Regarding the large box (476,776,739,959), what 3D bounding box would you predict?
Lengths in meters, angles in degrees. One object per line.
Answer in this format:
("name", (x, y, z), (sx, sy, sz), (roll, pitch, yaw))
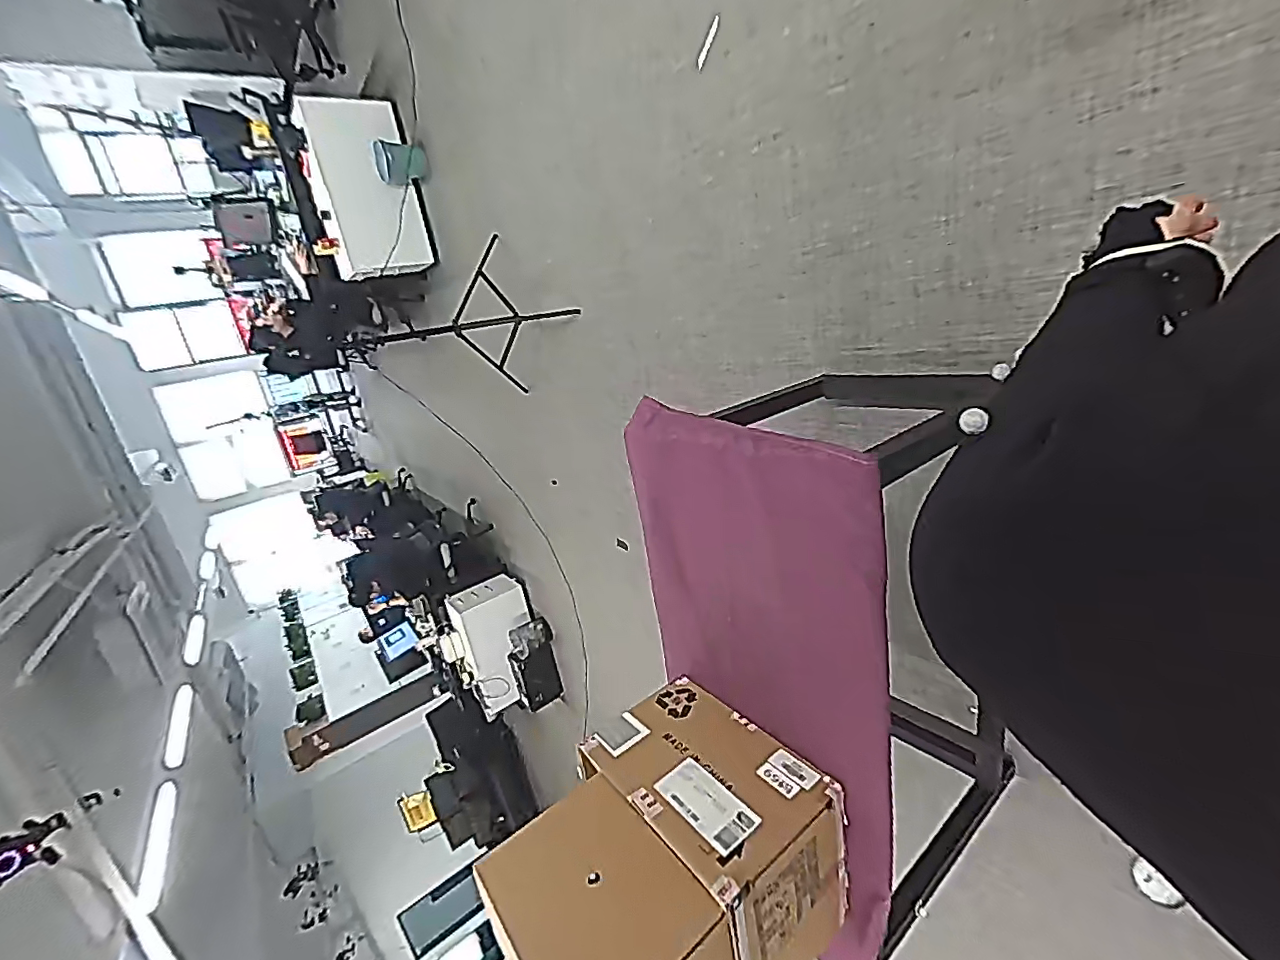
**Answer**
("large box", (-0.061, 0.870, 1.021), (0.408, 0.320, 0.320), (14, 121, 53))
